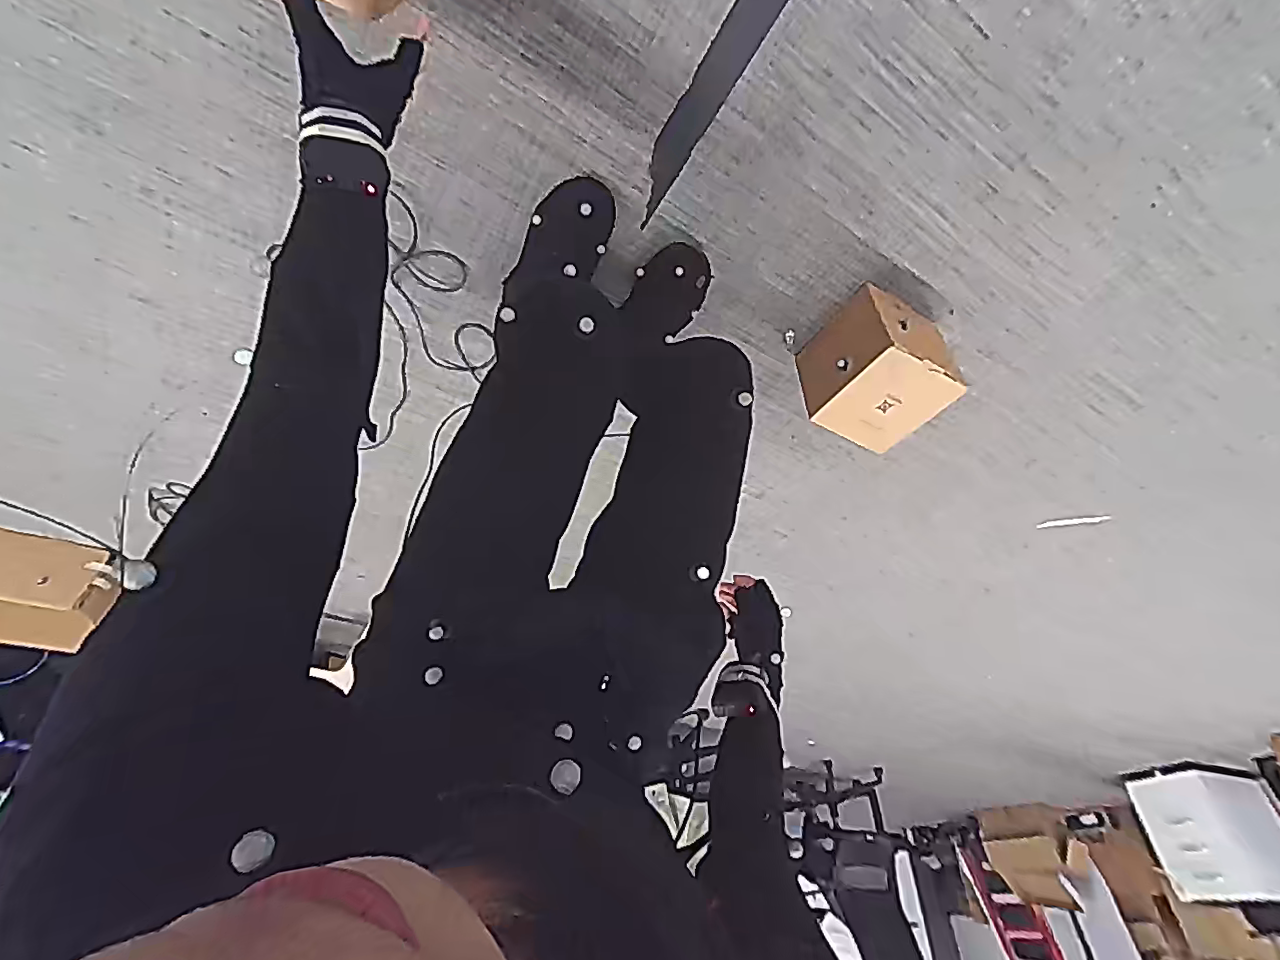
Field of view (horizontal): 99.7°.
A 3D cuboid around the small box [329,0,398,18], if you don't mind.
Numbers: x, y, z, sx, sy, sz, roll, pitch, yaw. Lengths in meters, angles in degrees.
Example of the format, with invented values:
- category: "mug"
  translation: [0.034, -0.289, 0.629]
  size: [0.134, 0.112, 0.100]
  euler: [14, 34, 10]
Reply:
- category: "small box"
  translation: [-0.287, -0.553, 0.462]
  size: [0.168, 0.176, 0.179]
  euler: [16, 137, -16]

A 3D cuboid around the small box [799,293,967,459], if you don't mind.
- category: "small box"
  translation: [0.384, -0.172, 0.891]
  size: [0.168, 0.176, 0.179]
  euler: [21, 137, -20]
